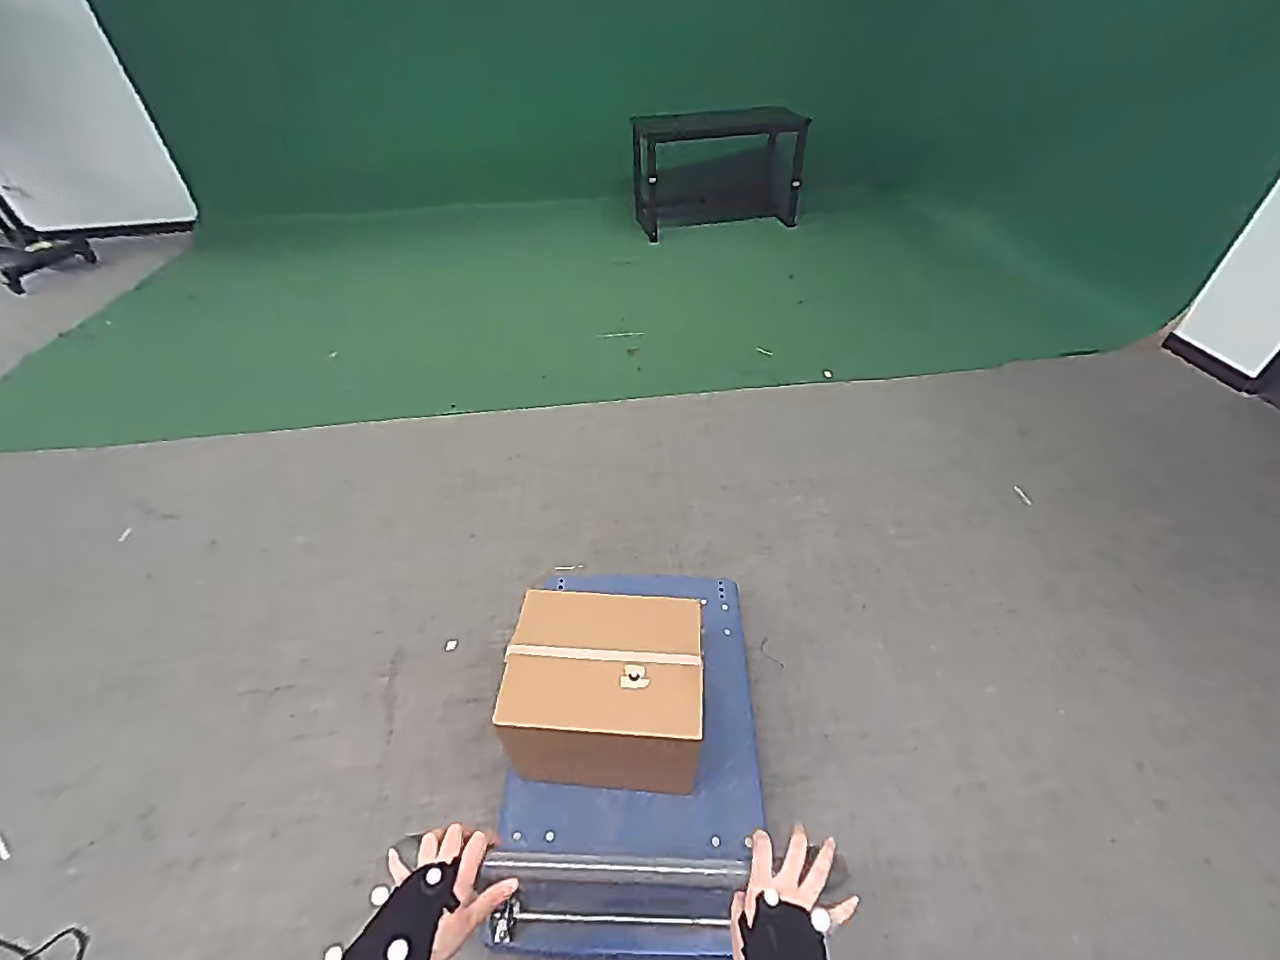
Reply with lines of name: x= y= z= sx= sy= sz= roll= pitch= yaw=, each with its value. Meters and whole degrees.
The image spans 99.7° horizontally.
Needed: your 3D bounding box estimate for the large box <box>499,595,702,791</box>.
large box: x=-0.072 y=0.491 z=1.249 sx=0.408 sy=0.320 sz=0.320 roll=3 pitch=43 yaw=3
